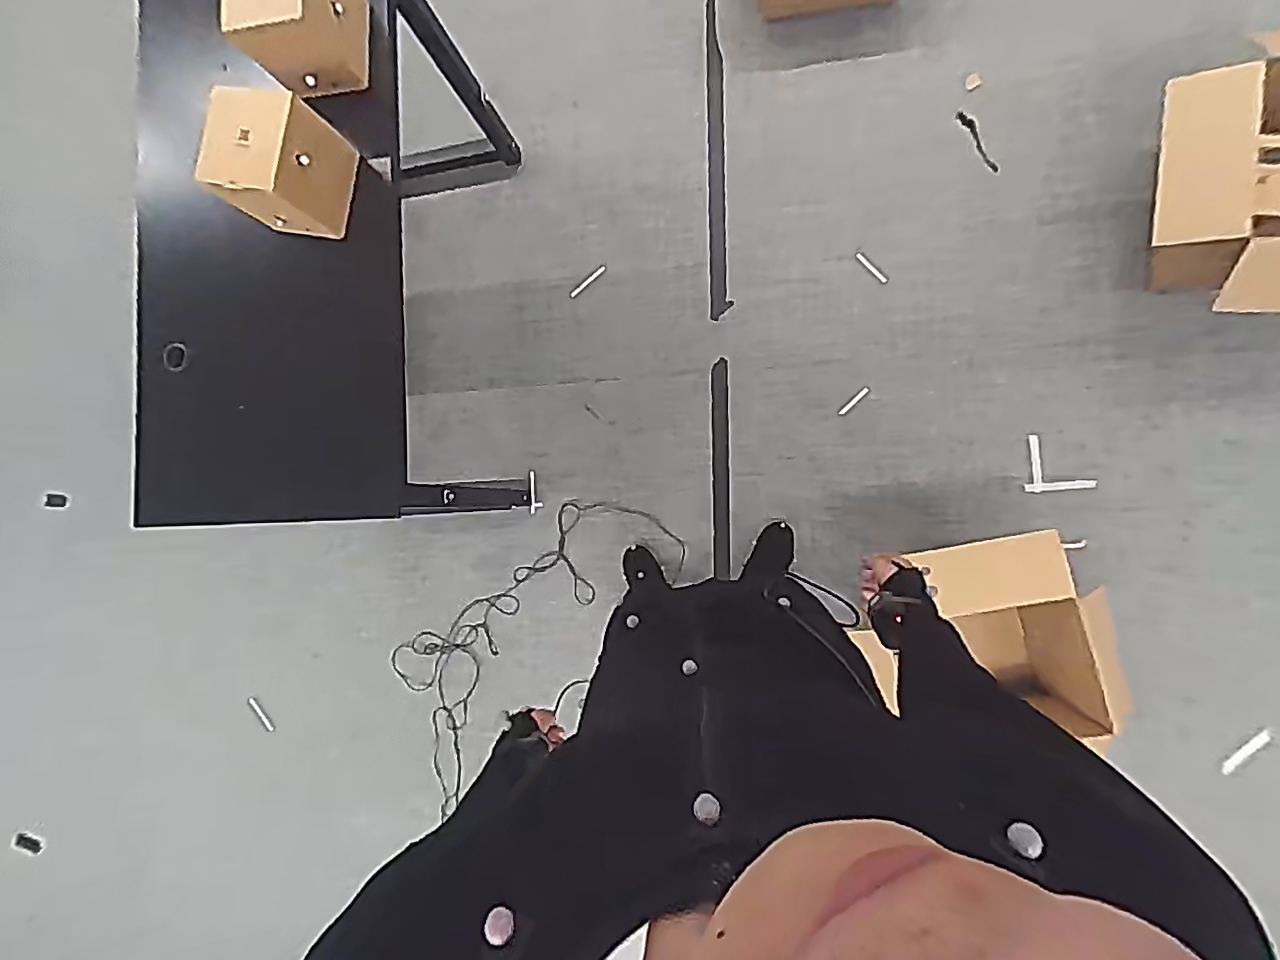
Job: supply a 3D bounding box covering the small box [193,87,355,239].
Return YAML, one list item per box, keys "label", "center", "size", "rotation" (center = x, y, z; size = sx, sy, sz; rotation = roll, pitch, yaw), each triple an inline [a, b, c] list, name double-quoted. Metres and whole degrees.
- label: "small box"
  center: [-0.662, -0.575, 0.997]
  size: [0.168, 0.176, 0.179]
  rotation: [11, 91, 11]

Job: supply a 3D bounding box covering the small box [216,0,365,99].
- label: "small box"
  center: [-0.634, -0.855, 0.999]
  size: [0.168, 0.176, 0.179]
  rotation: [-1, 89, 11]
